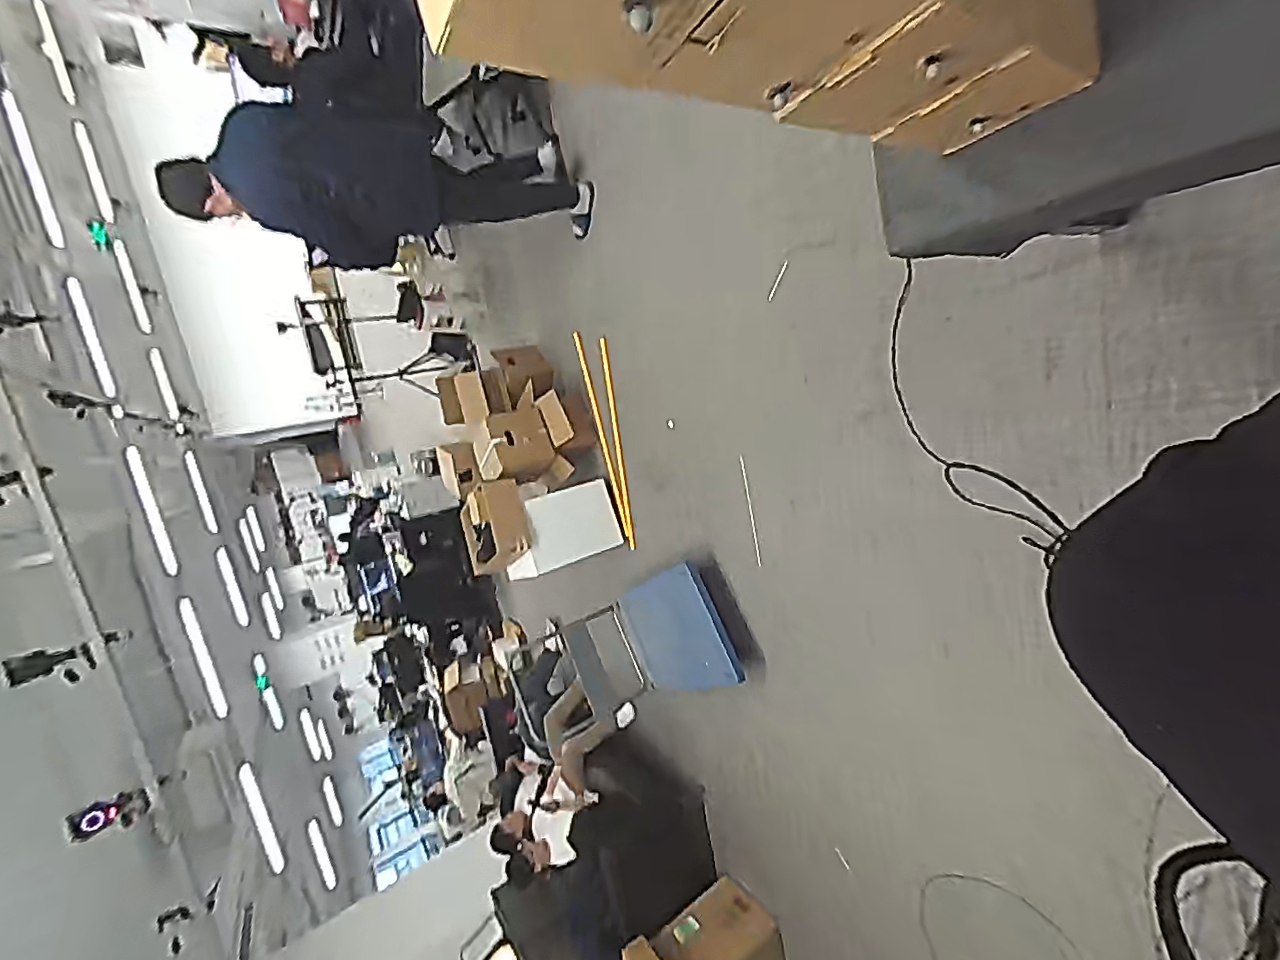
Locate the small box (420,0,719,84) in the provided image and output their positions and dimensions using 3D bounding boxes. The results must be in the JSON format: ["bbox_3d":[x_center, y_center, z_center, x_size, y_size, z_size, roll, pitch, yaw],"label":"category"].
[{"bbox_3d":[-0.041,-0.384,0.324,0.168,0.176,0.179,-4,101,57],"label":"small box"}]

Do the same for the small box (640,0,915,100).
[{"bbox_3d":[0.093,-0.424,0.411,0.168,0.176,0.179,-2,102,56],"label":"small box"}]

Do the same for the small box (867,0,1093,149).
[{"bbox_3d":[0.358,-0.493,0.588,0.168,0.176,0.179,0,104,57],"label":"small box"}]

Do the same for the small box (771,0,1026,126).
[{"bbox_3d":[0.227,-0.457,0.499,0.168,0.176,0.179,1,105,56],"label":"small box"}]
